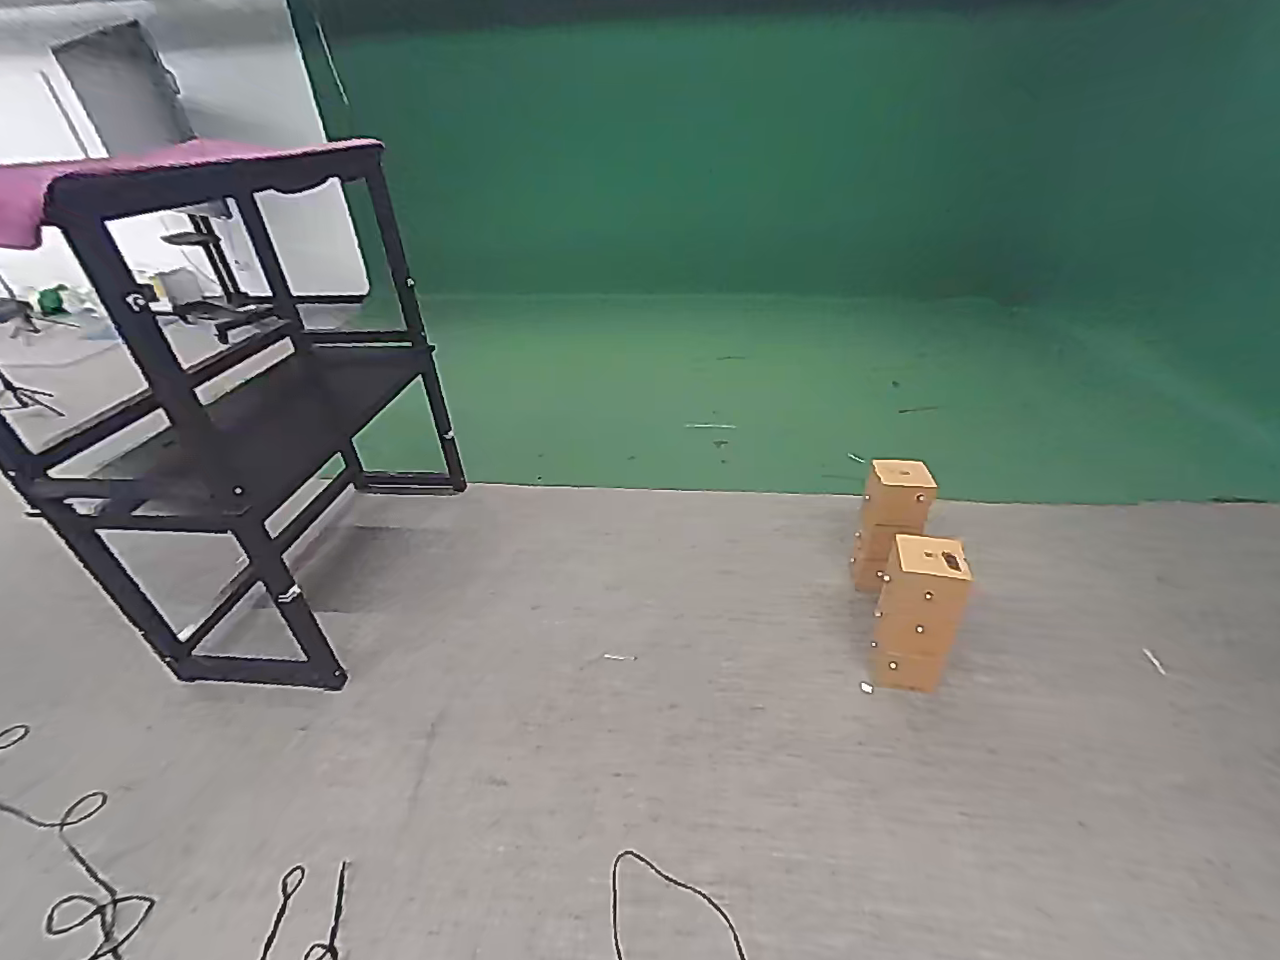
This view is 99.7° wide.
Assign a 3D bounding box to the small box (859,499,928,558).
[{"bbox_3d":[0.919,0.171,1.973,0.179,0.176,0.168,1,33,8],"label":"small box"}]

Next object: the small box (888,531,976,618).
[{"bbox_3d":[0.825,0.270,1.544,0.179,0.176,0.168,6,35,15],"label":"small box"}]

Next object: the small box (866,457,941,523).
[{"bbox_3d":[0.909,0.036,1.879,0.179,0.176,0.168,2,33,7],"label":"small box"}]

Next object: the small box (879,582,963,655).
[{"bbox_3d":[0.841,0.406,1.635,0.179,0.176,0.168,5,35,13],"label":"small box"}]

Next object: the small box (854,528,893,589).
[{"bbox_3d":[0.927,0.304,2.067,0.179,0.176,0.168,3,35,10],"label":"small box"}]
